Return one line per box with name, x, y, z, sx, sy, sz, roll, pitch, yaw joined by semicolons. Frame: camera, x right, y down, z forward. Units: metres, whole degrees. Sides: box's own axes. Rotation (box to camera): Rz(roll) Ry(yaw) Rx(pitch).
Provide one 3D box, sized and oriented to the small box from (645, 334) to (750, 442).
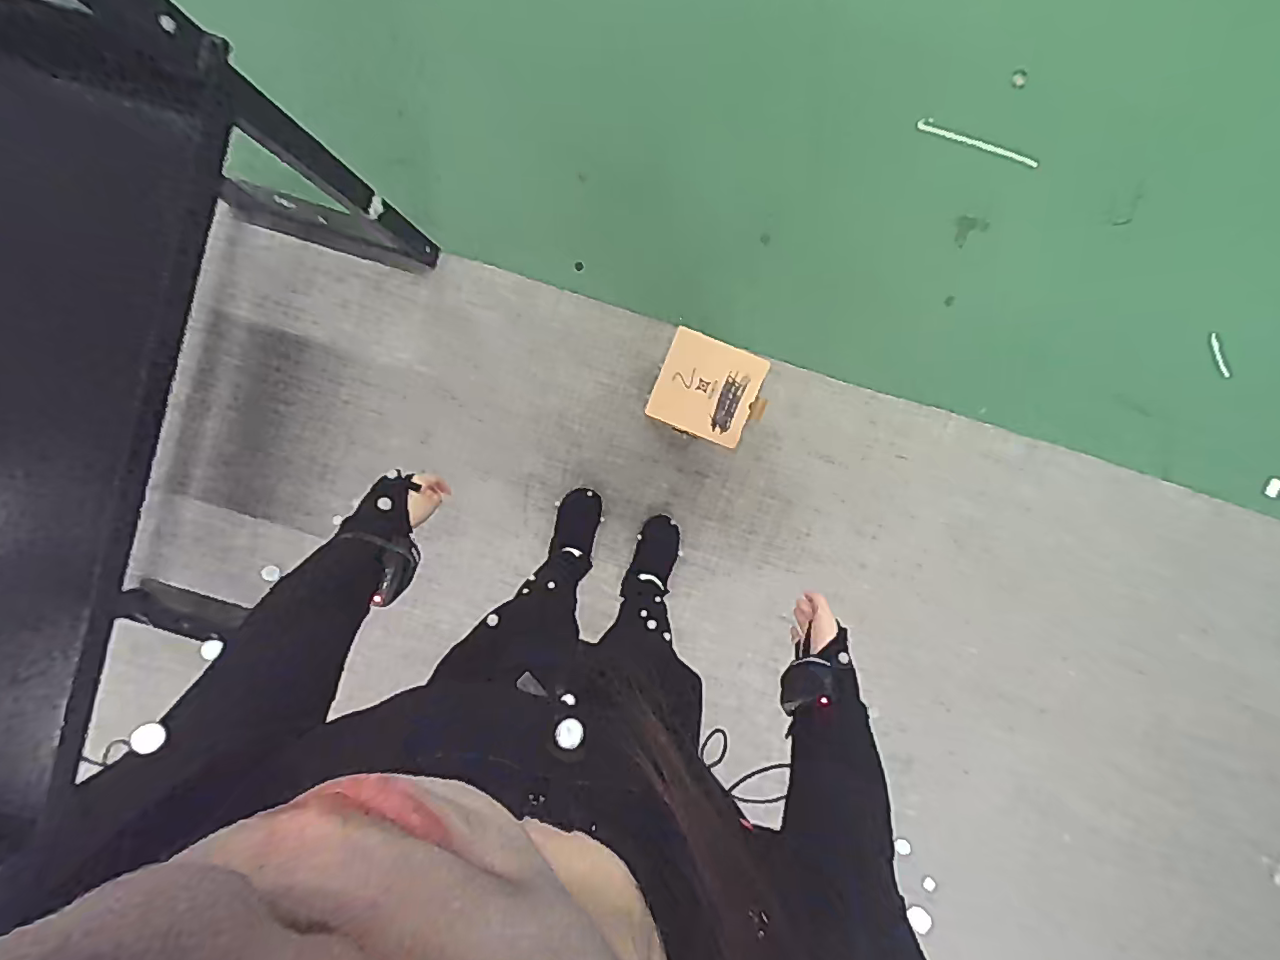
small box;0.118;-0.191;1.165;0.168;0.176;0.179;20;95;-1
